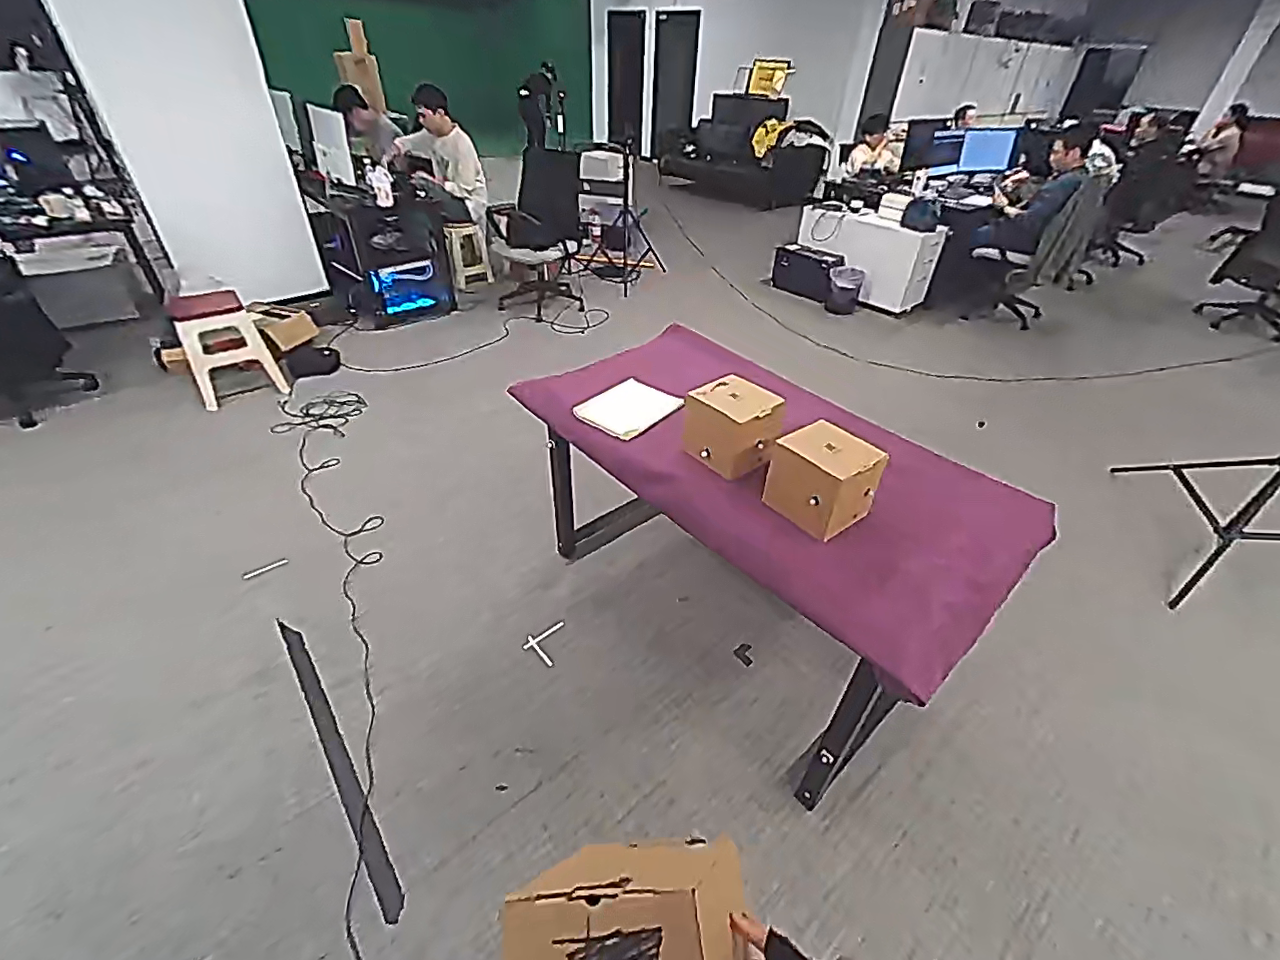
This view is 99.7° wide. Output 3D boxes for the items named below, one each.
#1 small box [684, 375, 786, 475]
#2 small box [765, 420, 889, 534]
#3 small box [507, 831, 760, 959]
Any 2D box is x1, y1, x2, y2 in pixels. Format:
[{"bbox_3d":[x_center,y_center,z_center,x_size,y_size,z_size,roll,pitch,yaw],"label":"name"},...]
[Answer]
[{"bbox_3d":[0.227,-0.132,1.336,0.168,0.176,0.179,-27,47,-33],"label":"small box"},{"bbox_3d":[0.399,-0.003,1.179,0.168,0.176,0.179,-23,43,-31],"label":"small box"},{"bbox_3d":[0.005,0.414,0.456,0.168,0.176,0.179,-16,64,15],"label":"small box"}]
